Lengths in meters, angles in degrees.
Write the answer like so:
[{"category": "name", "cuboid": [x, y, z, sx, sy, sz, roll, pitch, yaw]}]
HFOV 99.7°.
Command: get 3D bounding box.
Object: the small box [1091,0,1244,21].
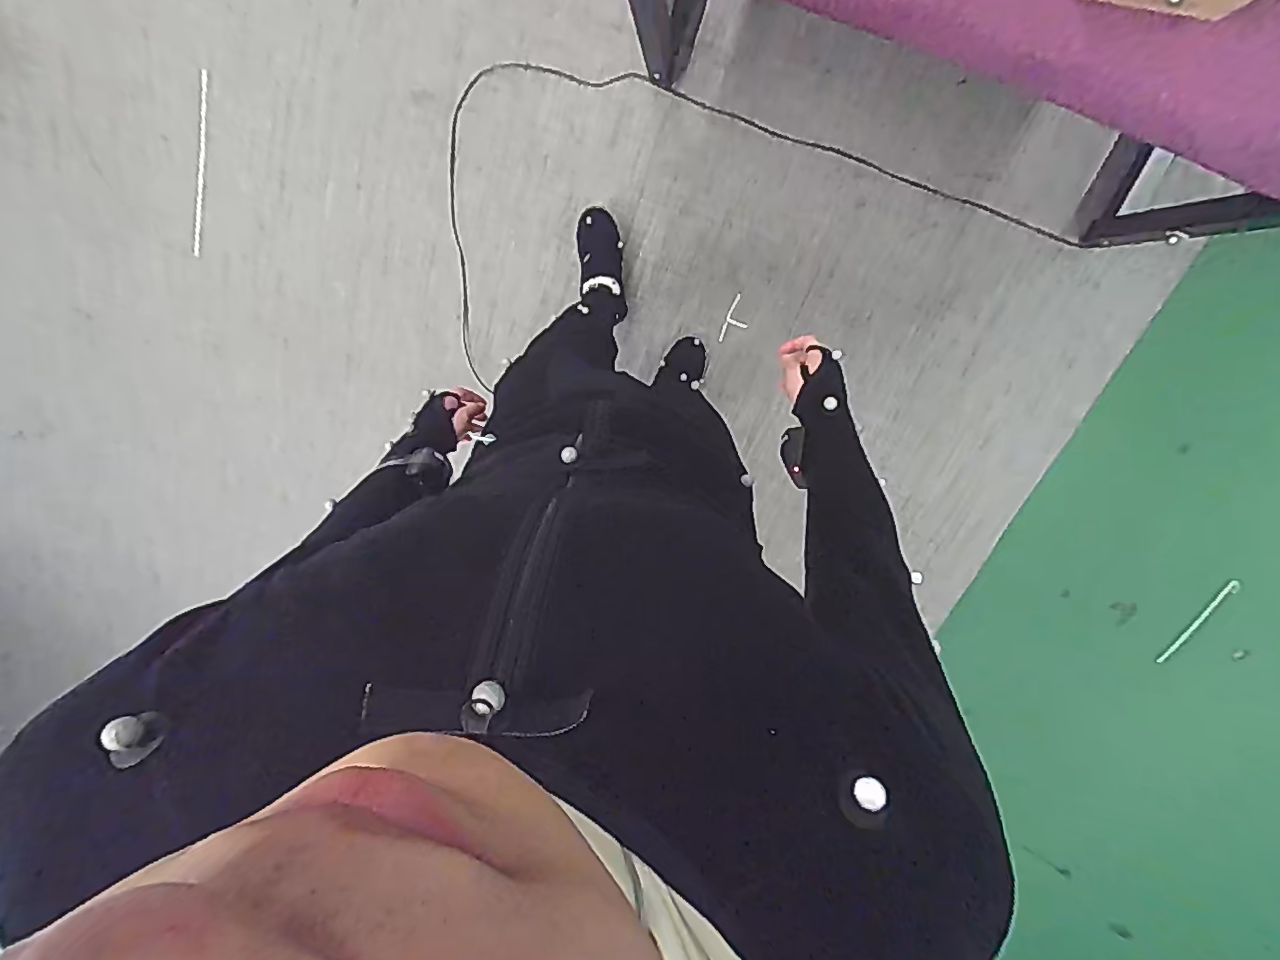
[{"category": "small box", "cuboid": [0.587, -0.602, 0.523, 0.168, 0.176, 0.179, 13, 109, 3]}]
